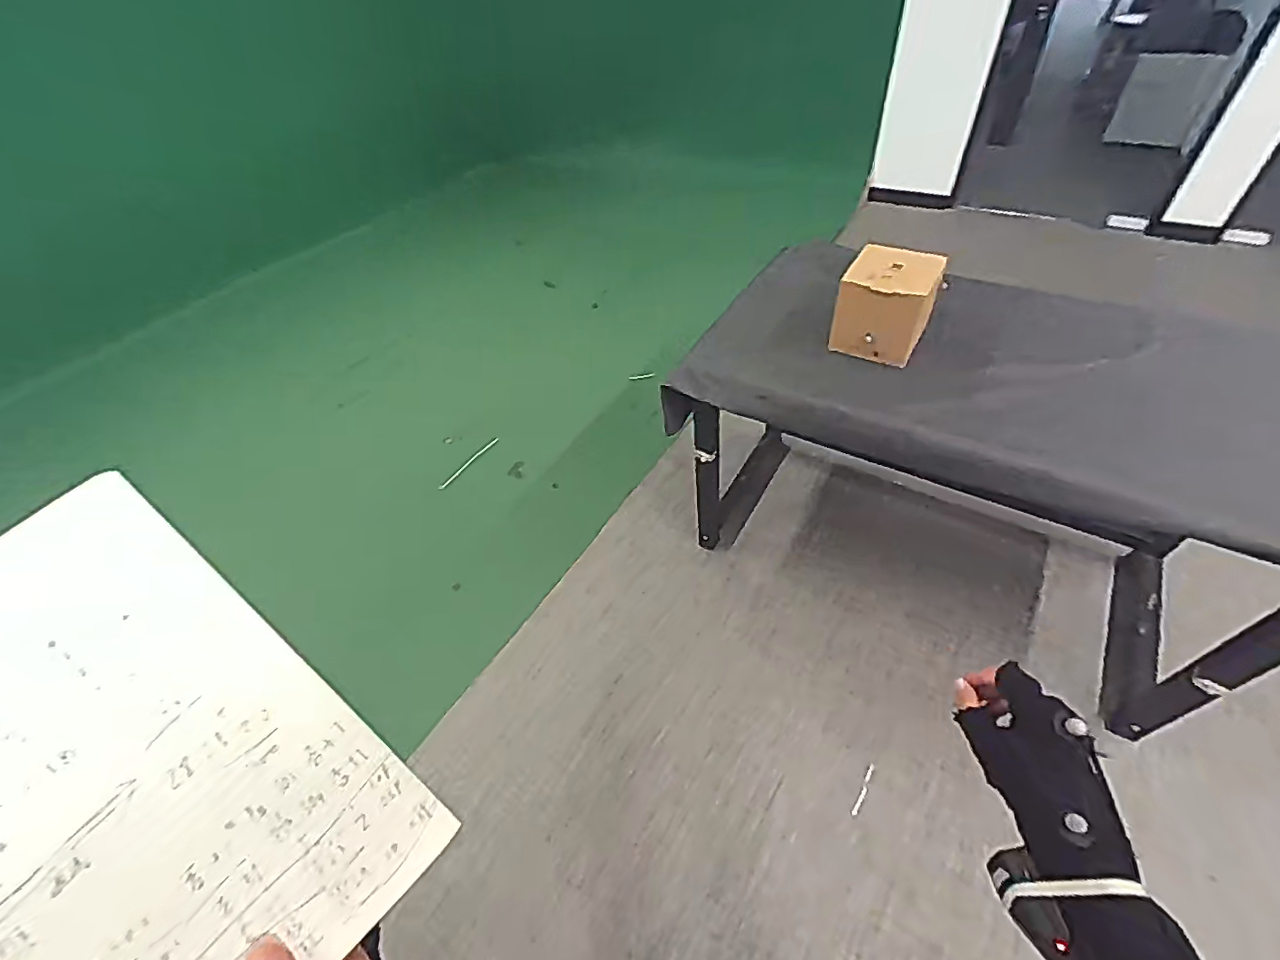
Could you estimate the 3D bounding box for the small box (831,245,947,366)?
[{"bbox_3d":[0.527,-0.375,1.162,0.168,0.176,0.179,23,55,25],"label":"small box"}]
